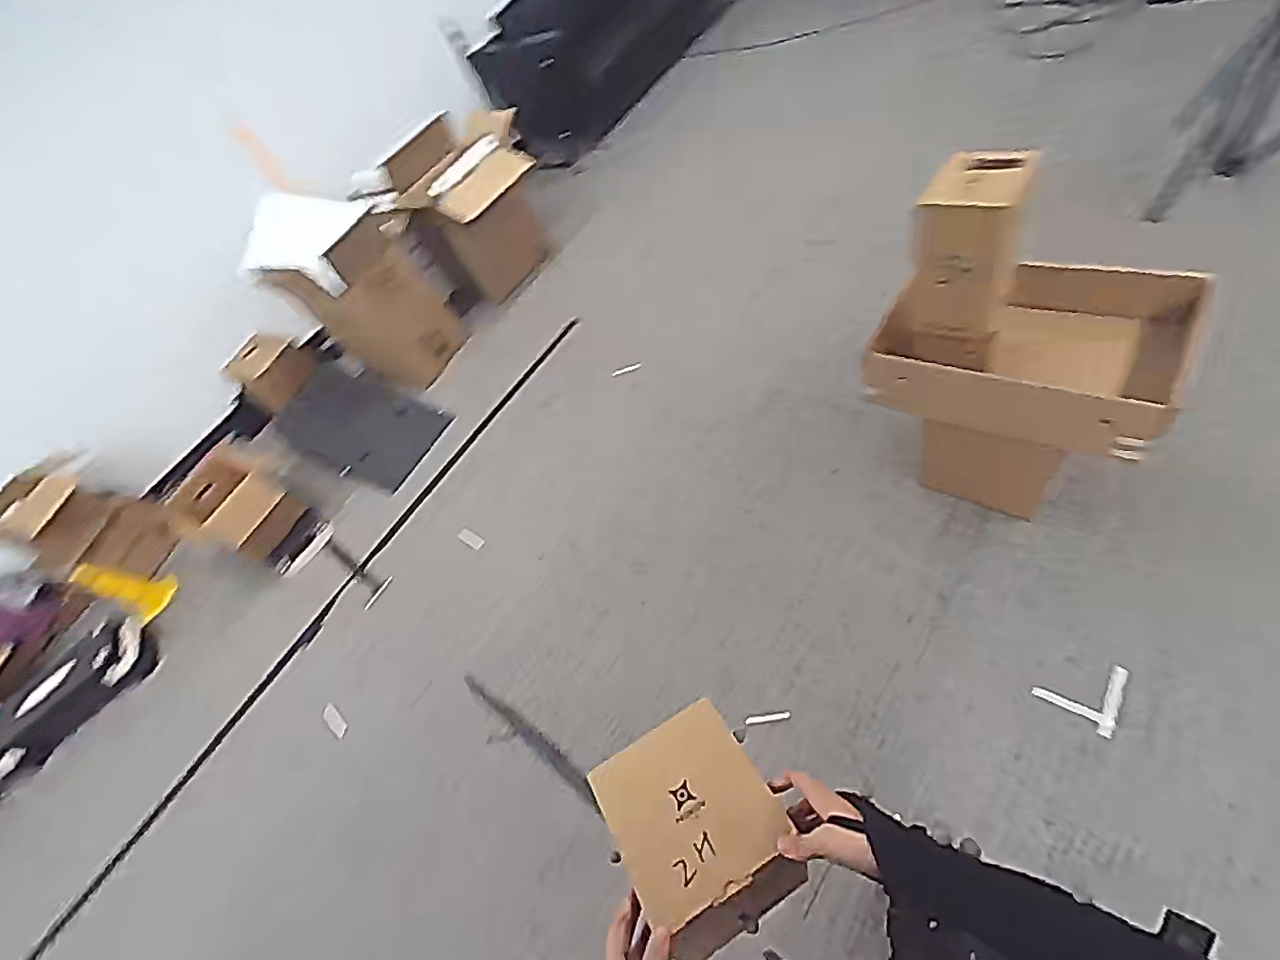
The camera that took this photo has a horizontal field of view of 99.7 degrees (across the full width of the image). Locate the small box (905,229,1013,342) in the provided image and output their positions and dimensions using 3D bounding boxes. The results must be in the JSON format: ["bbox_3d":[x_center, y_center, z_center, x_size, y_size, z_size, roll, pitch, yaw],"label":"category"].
[{"bbox_3d":[0.726,-0.449,1.249,0.168,0.176,0.179,22,67,35],"label":"small box"}]

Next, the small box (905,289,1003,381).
[{"bbox_3d":[0.793,-0.373,1.378,0.179,0.176,0.168,16,63,33],"label":"small box"}]
